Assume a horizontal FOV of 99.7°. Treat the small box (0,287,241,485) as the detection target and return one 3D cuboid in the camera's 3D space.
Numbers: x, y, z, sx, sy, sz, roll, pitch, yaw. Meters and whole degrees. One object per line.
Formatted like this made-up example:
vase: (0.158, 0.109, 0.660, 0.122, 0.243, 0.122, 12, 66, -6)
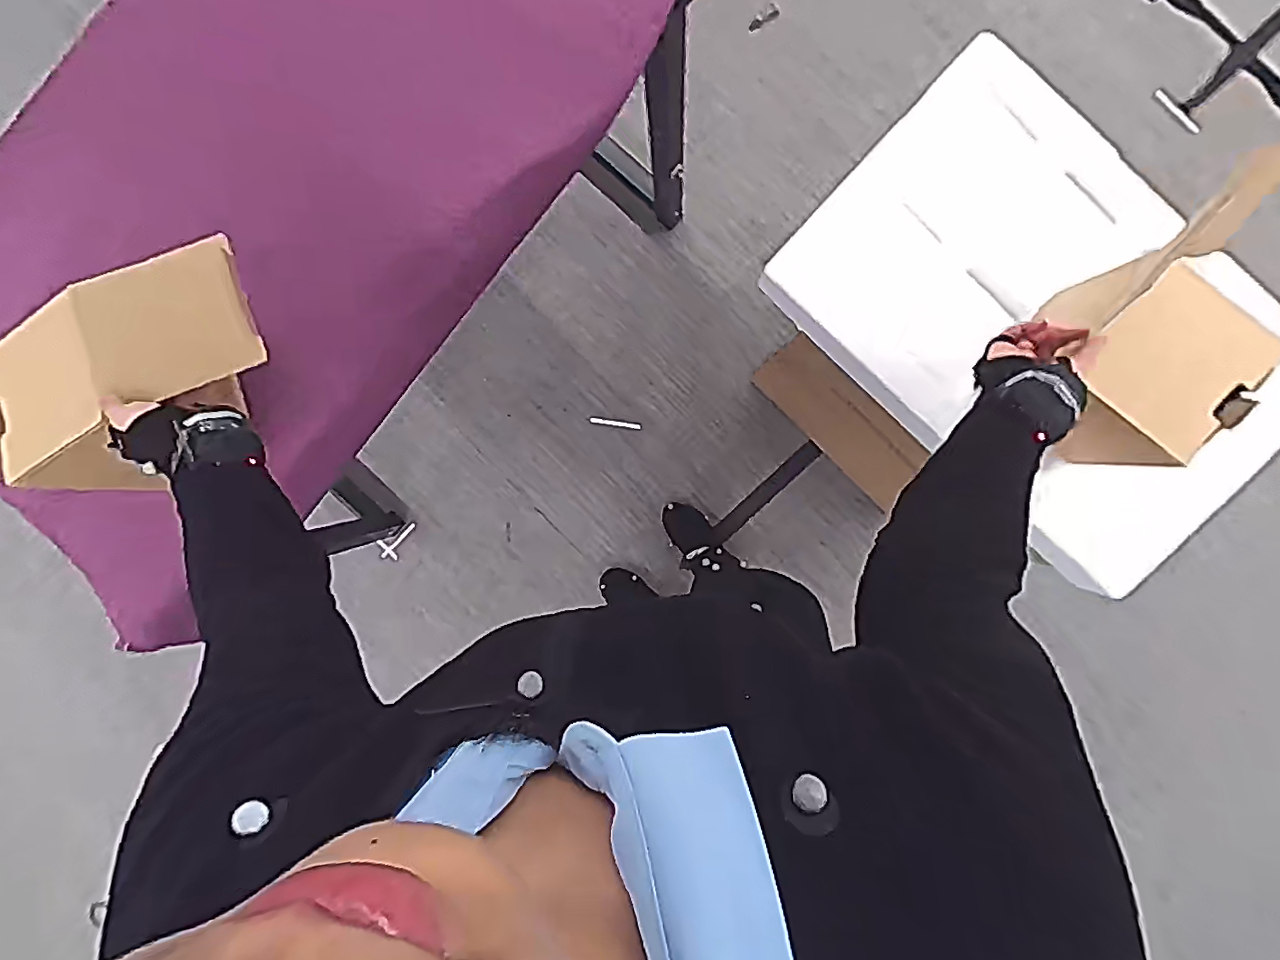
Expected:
small box: (-0.635, -0.101, 0.669, 0.179, 0.176, 0.168, -23, 80, 15)
